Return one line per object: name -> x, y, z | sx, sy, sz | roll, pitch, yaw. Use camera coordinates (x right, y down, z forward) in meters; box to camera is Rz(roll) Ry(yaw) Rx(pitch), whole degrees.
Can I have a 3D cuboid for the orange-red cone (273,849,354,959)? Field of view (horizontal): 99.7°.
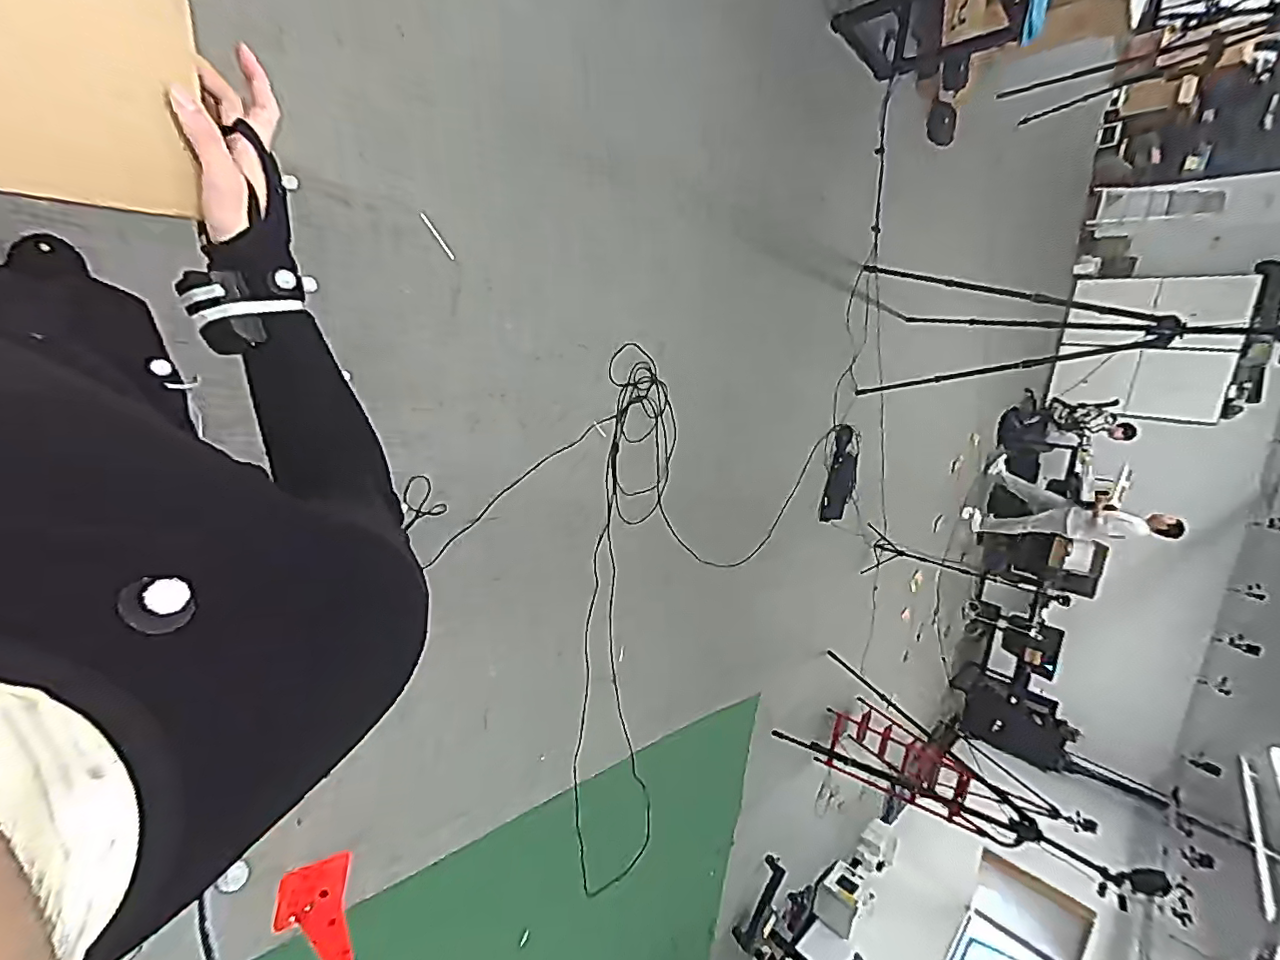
orange-red cone -> -0.927, 1.336, 1.617 | 0.199, 0.360, 0.198 | 8, 97, -48
